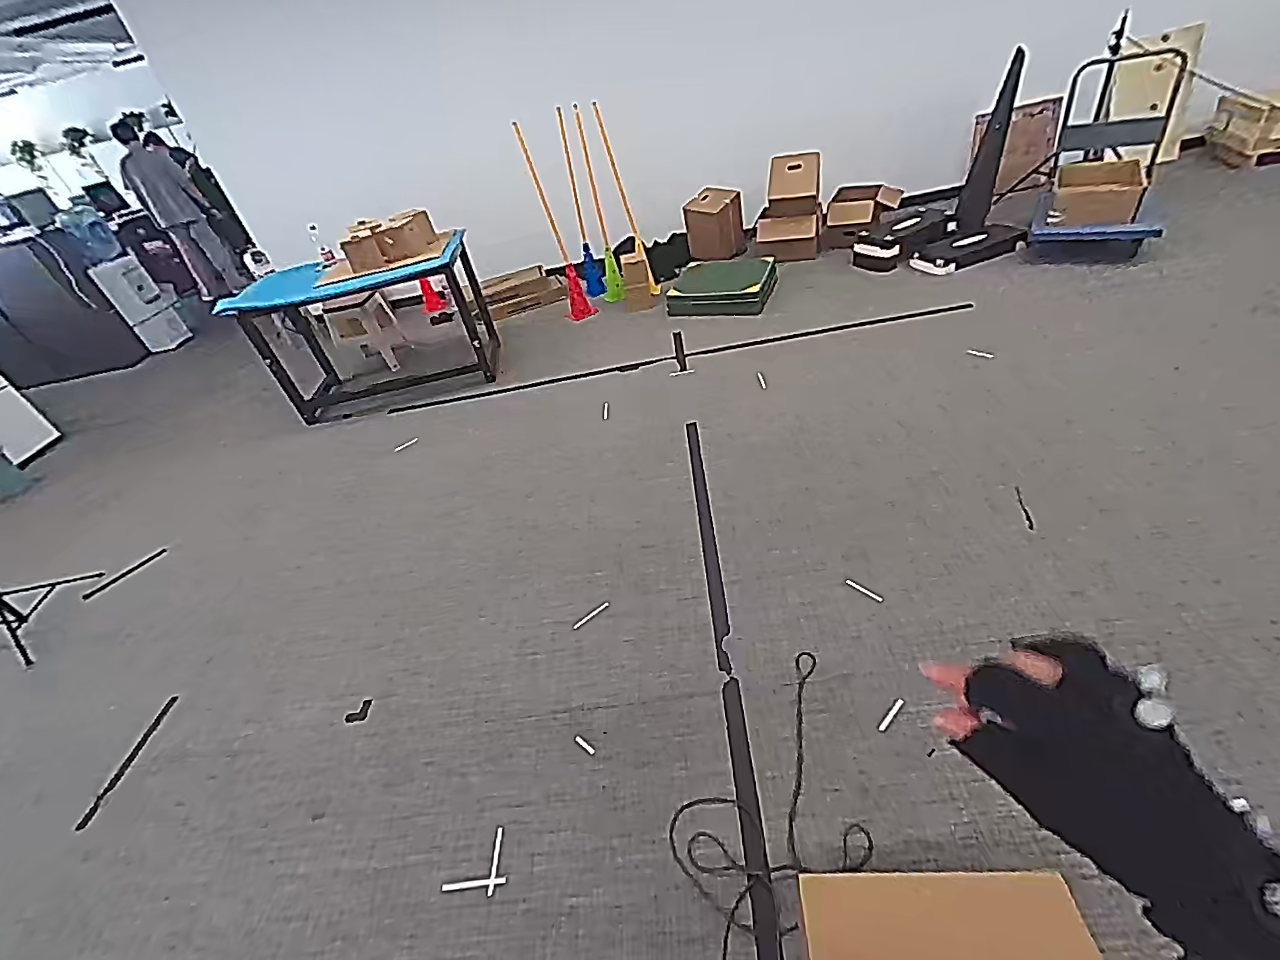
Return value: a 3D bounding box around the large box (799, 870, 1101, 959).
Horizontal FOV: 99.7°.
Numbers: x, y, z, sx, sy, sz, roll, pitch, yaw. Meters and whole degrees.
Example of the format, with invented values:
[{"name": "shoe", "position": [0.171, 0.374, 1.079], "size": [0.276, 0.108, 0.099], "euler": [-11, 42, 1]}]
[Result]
[{"name": "large box", "position": [0.485, 0.851, 0.851], "size": [0.408, 0.320, 0.320], "euler": [-7, 39, 9]}]
